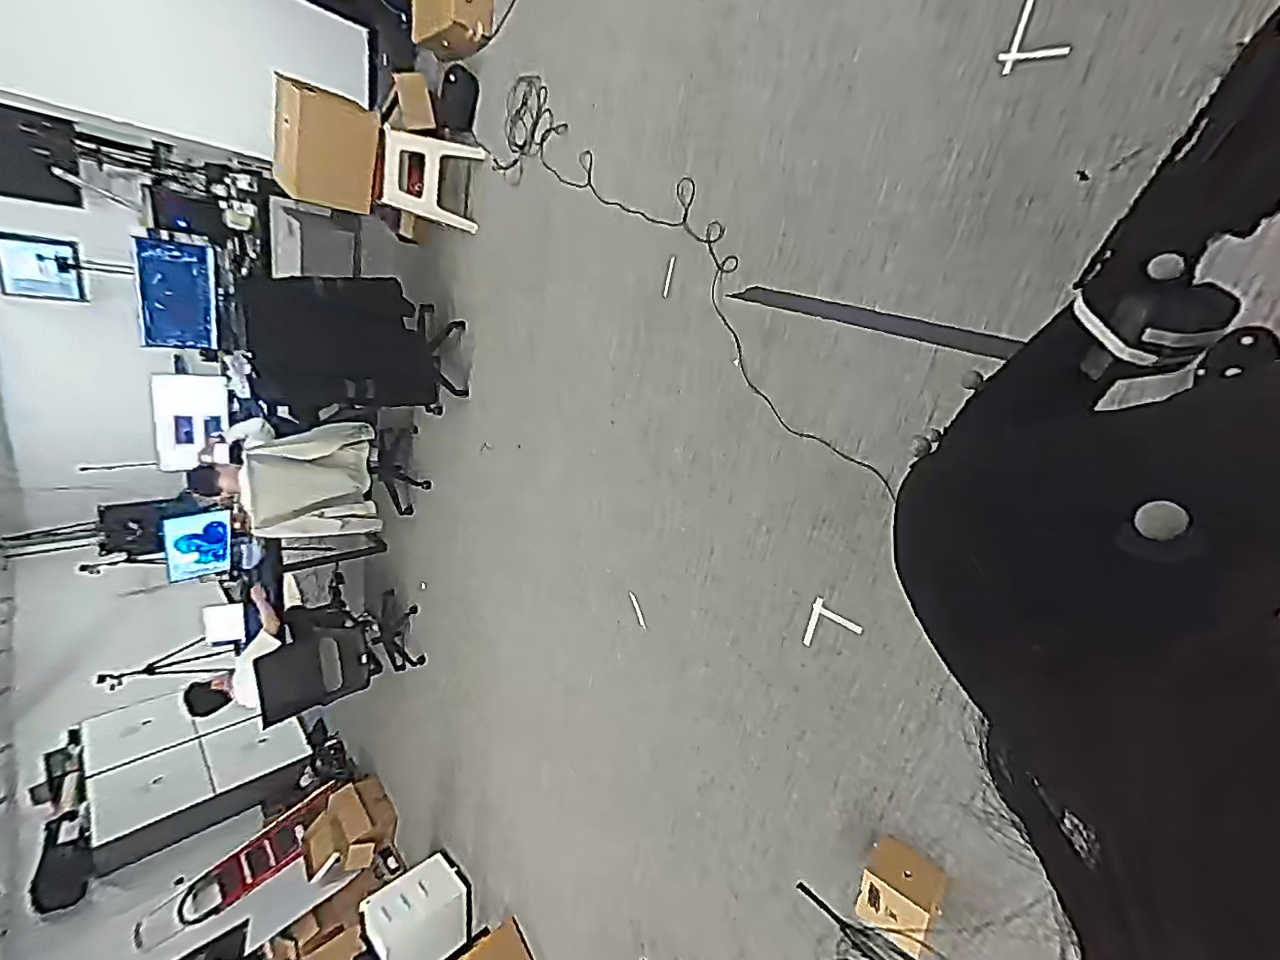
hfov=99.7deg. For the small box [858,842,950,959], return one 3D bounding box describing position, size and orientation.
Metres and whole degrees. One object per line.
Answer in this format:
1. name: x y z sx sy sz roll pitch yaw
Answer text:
1. small box: 0.748 1.174 1.530 0.179 0.176 0.168 18 109 40
